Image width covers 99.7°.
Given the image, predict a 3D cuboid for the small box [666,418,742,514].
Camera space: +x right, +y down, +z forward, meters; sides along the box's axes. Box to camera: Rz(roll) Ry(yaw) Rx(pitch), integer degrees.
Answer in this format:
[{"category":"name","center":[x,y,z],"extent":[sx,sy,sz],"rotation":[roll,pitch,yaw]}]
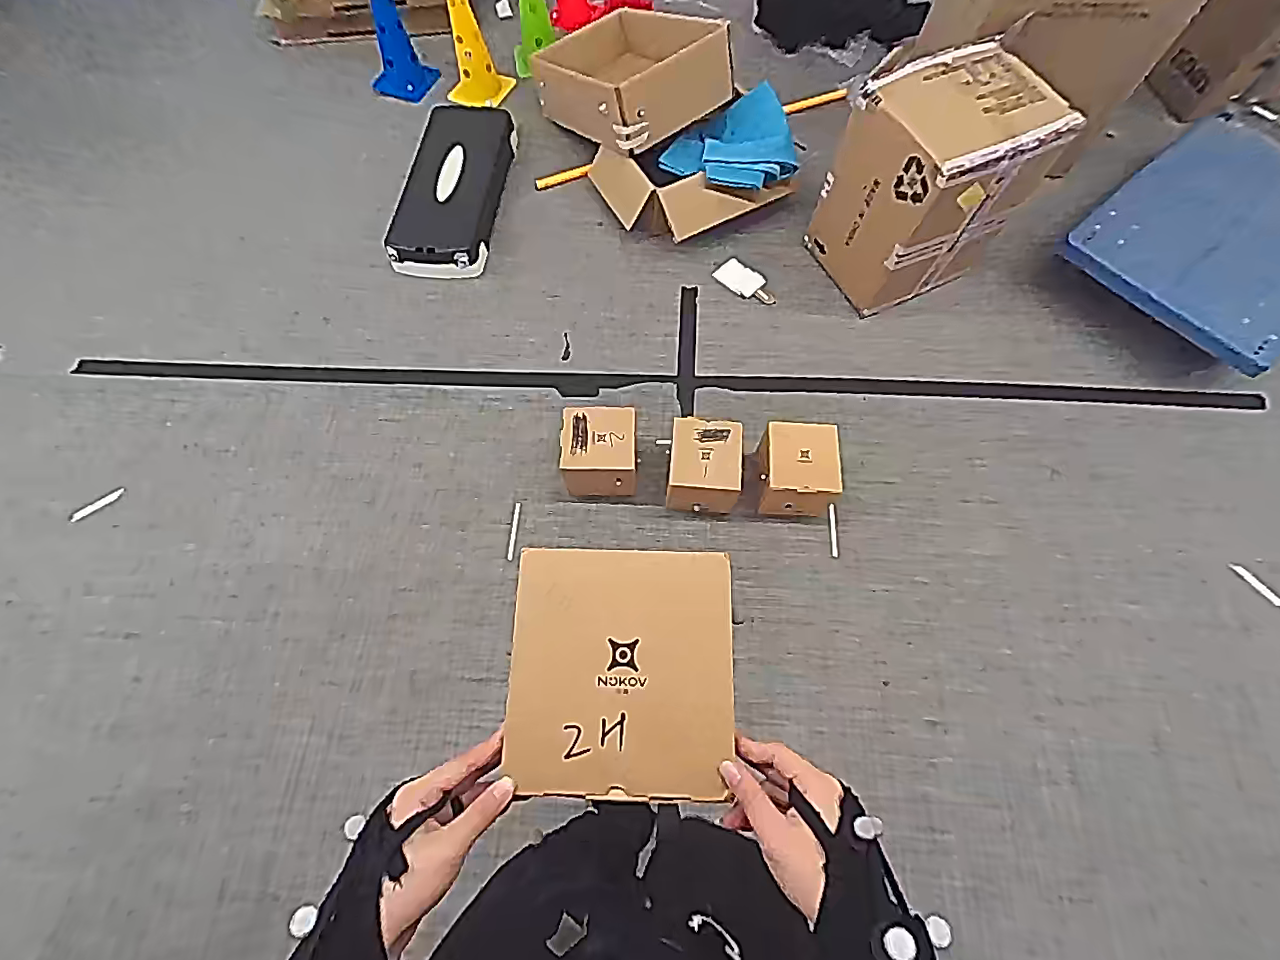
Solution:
[{"category":"small box","center":[0.153,-0.031,1.327],"extent":[0.168,0.176,0.179],"rotation":[5,68,2]}]

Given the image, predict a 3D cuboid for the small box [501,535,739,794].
[{"category":"small box","center":[-0.011,0.153,0.469],"extent":[0.168,0.176,0.179],"rotation":[1,72,2]}]

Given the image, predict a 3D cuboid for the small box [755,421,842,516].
[{"category":"small box","center":[0.380,-0.025,1.328],"extent":[0.168,0.176,0.179],"rotation":[3,68,1]}]
